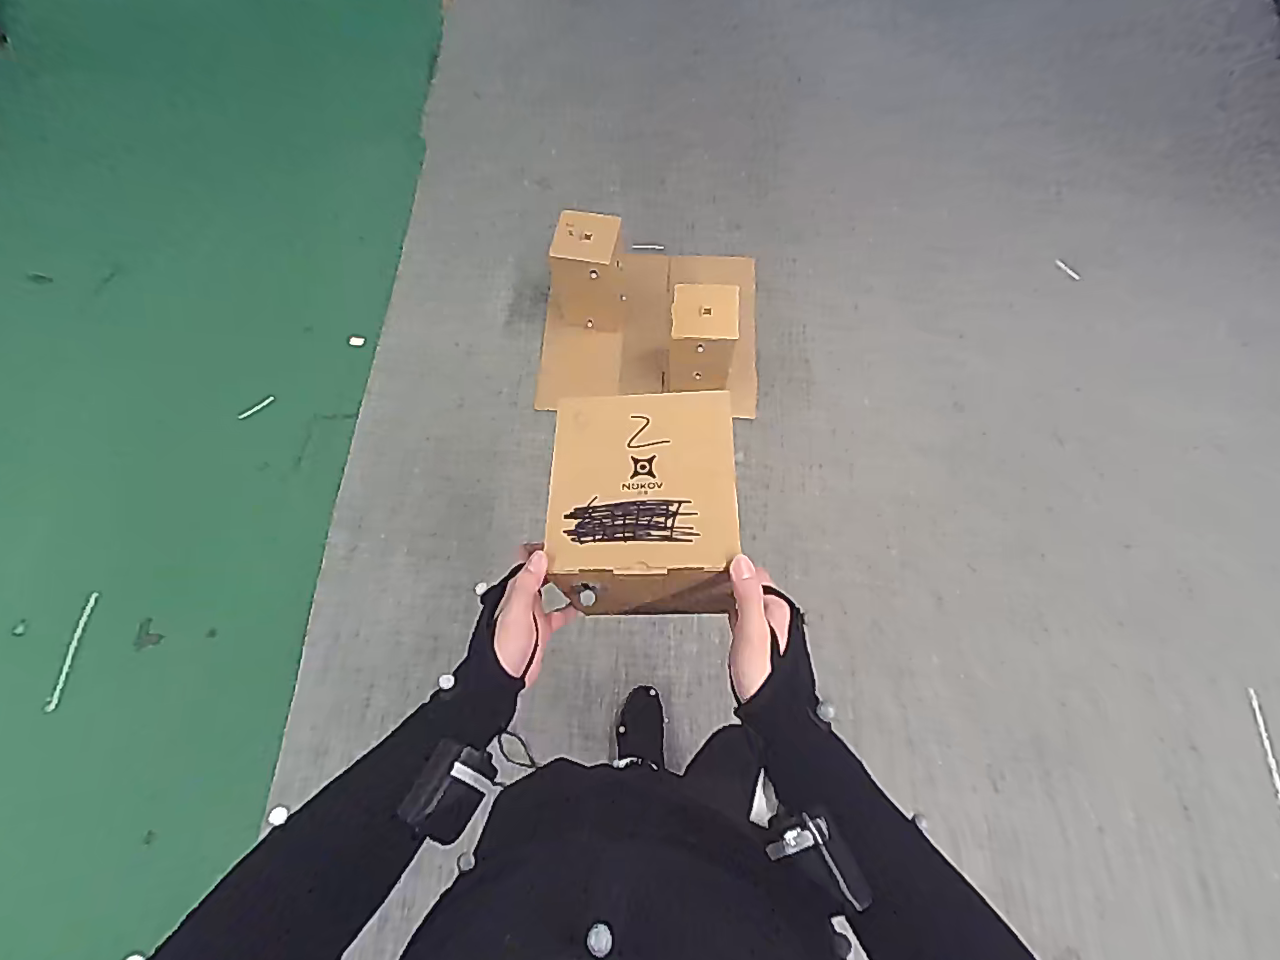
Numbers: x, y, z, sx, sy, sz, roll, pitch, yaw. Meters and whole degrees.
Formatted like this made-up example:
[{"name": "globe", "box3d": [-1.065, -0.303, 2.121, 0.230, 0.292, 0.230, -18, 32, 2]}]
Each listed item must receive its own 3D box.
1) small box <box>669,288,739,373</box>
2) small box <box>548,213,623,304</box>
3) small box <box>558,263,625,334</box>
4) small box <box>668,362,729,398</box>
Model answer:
[{"name": "small box", "box3d": [0.173, -0.407, 1.489, 0.179, 0.176, 0.168, 3, 72, 4]}, {"name": "small box", "box3d": [-0.149, -0.636, 1.568, 0.179, 0.176, 0.168, 10, 71, 5]}, {"name": "small box", "box3d": [-0.147, -0.589, 1.728, 0.179, 0.176, 0.168, 11, 72, 5]}, {"name": "small box", "box3d": [0.178, -0.362, 1.644, 0.179, 0.176, 0.168, 4, 72, 3]}]
